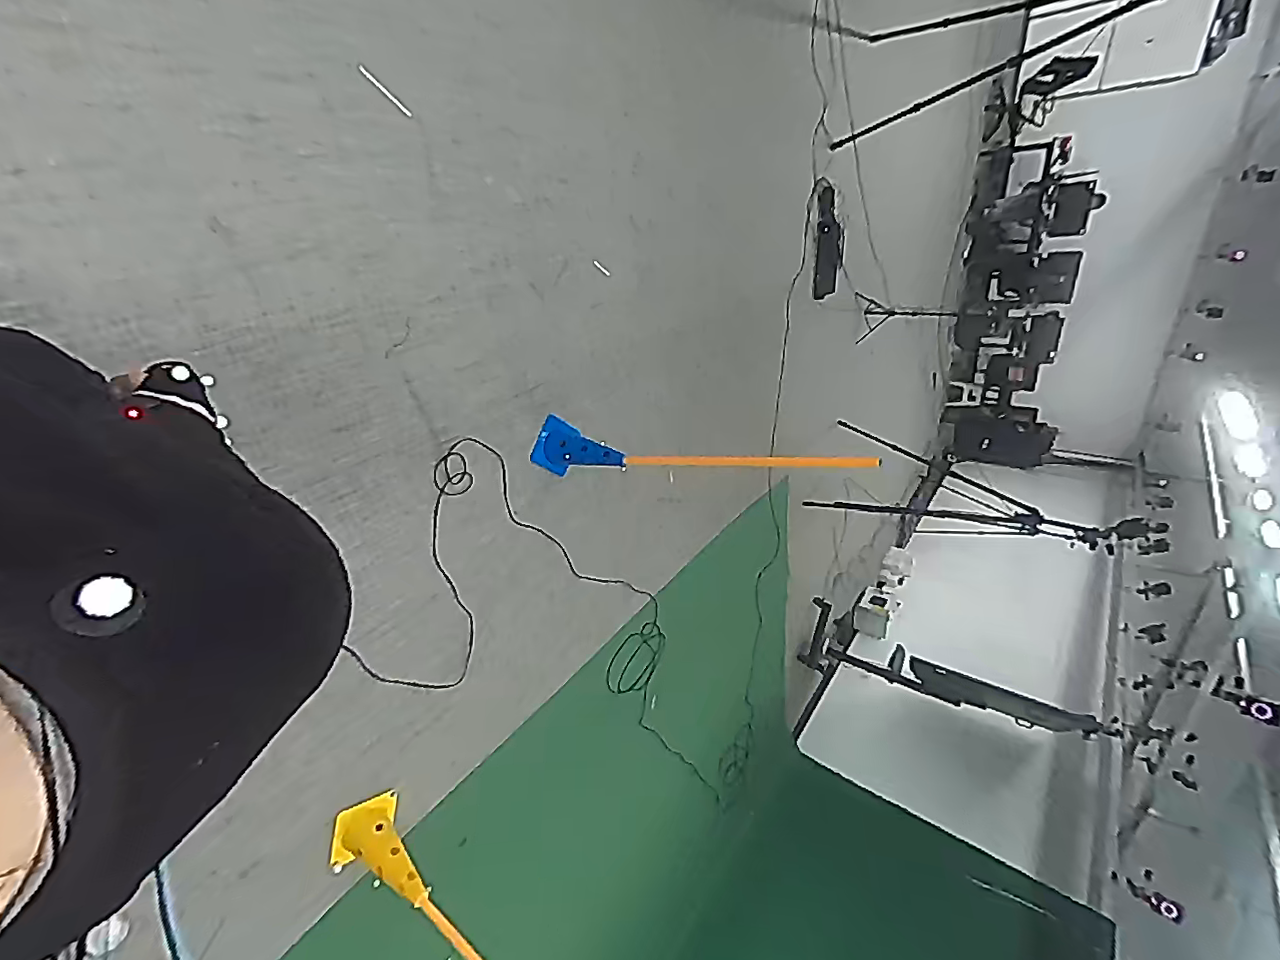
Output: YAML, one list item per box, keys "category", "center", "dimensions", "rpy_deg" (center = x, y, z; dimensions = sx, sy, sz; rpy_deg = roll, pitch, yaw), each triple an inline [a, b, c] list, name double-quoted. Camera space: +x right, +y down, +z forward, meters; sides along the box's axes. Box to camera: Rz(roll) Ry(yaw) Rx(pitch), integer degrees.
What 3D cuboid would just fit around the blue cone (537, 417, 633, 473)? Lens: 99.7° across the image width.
- category: "blue cone"
  center: [-0.185, -0.107, 1.989]
  dimensions: [0.192, 0.380, 0.193]
  rpy_deg: [29, 76, -52]
